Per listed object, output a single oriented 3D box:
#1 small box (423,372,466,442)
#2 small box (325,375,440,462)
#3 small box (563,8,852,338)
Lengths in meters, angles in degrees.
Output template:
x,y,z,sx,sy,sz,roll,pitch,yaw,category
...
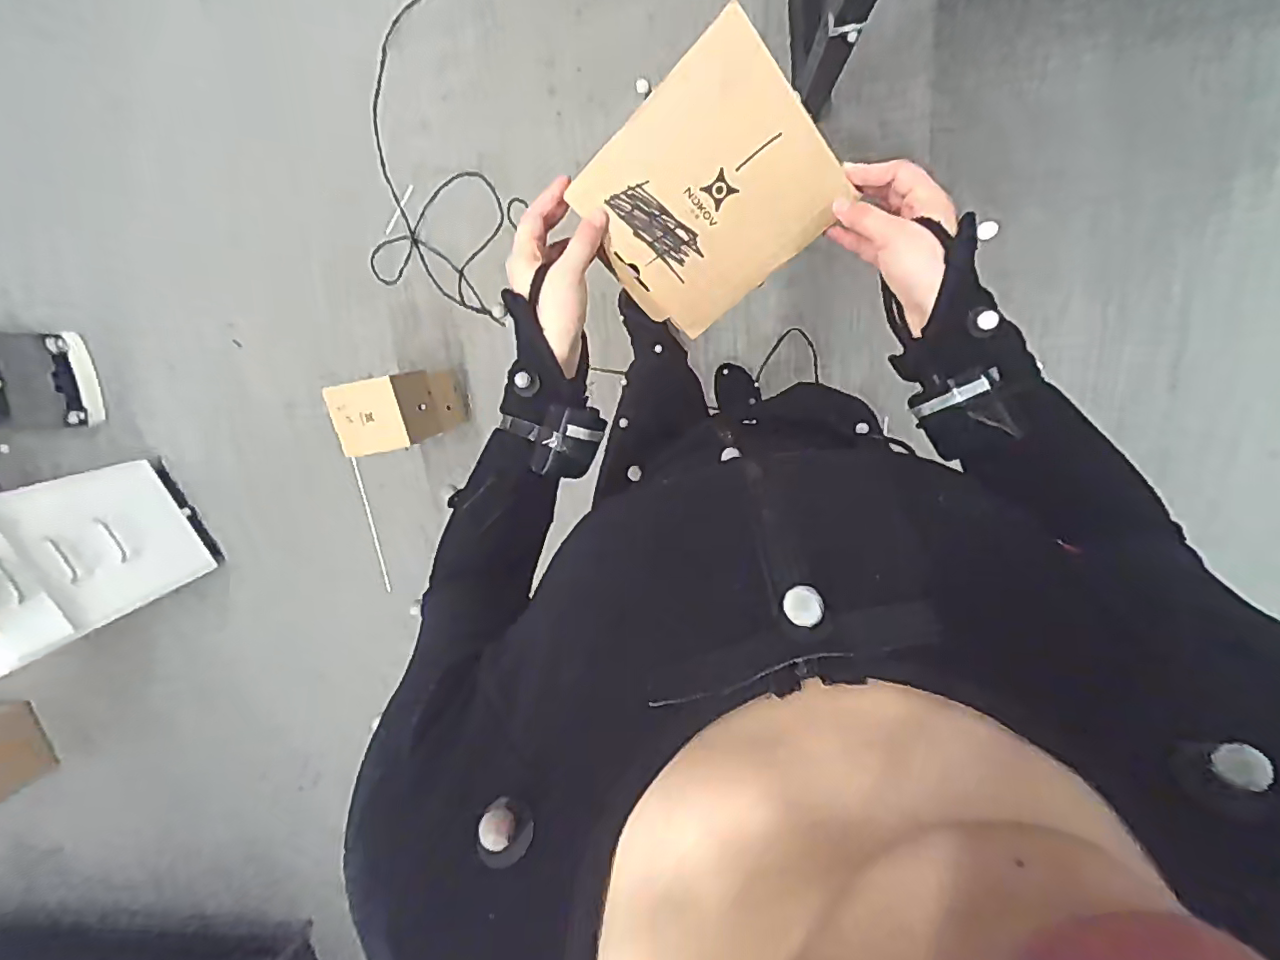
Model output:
x,y,z,sx,sy,sz,roll,pitch,yaw,category
-0.593,-0.194,1.465,0.179,0.176,0.168,-7,106,10,small box
-0.607,-0.153,1.306,0.179,0.176,0.168,-8,105,11,small box
0.057,-0.270,0.498,0.179,0.176,0.168,-36,116,24,small box
